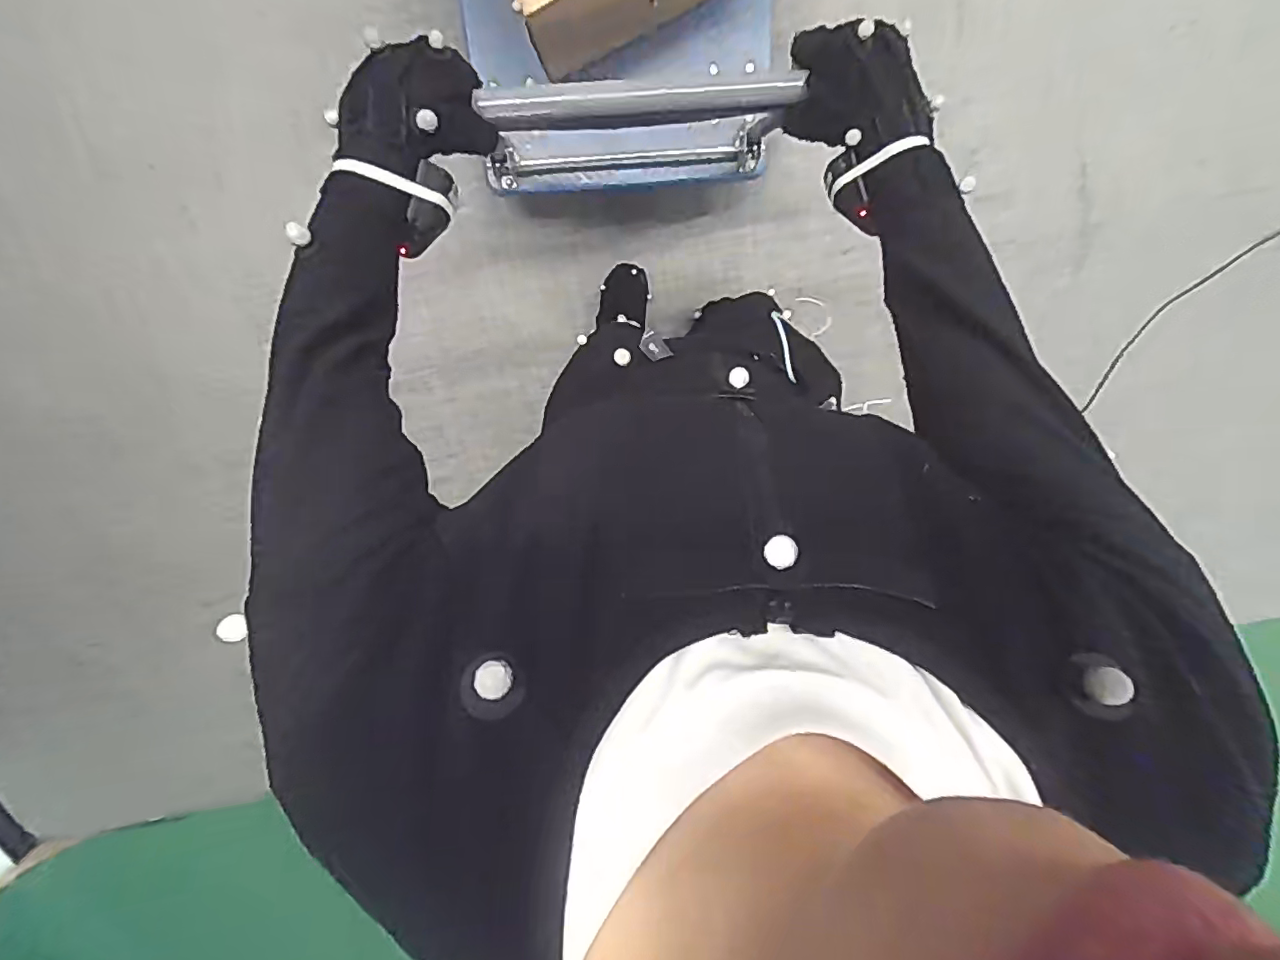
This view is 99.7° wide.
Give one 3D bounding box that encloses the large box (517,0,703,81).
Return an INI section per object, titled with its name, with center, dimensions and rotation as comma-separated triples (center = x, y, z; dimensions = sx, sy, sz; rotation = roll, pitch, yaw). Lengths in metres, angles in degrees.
[large box]
center = -0.041, -0.908, 0.820
dimensions = 0.408, 0.320, 0.320
rotation = -23, 110, 9
